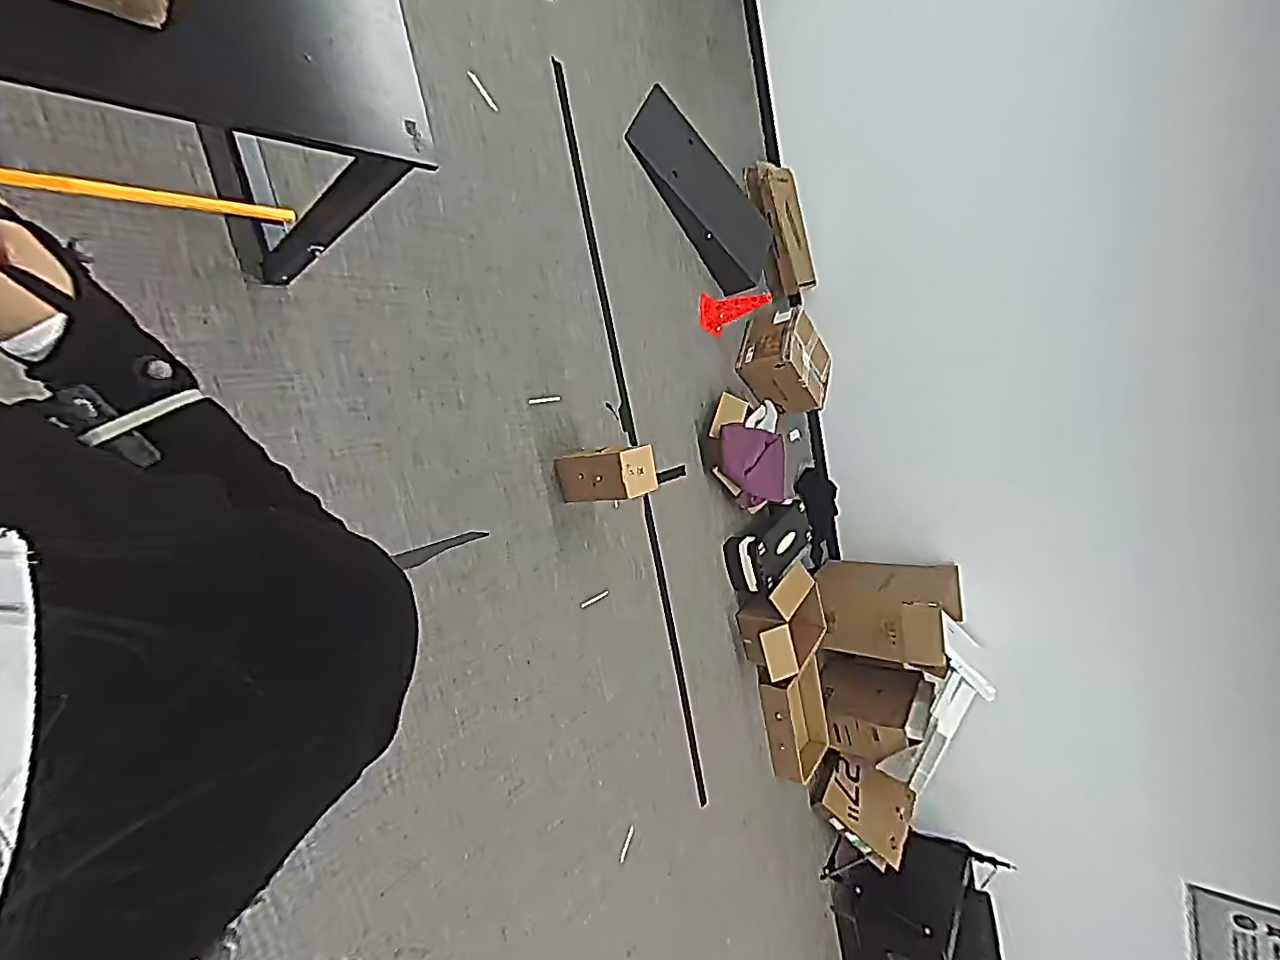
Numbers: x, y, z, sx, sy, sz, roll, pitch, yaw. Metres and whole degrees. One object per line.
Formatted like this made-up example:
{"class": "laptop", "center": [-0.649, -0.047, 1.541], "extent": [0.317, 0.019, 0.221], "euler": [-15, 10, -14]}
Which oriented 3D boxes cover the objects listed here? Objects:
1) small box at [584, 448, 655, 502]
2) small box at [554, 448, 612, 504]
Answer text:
{"class": "small box", "center": [-0.074, -0.018, 1.934], "extent": [0.179, 0.176, 0.168], "euler": [-18, 100, -49]}
{"class": "small box", "center": [-0.201, -0.013, 2.039], "extent": [0.168, 0.176, 0.179], "euler": [-24, 105, -48]}
